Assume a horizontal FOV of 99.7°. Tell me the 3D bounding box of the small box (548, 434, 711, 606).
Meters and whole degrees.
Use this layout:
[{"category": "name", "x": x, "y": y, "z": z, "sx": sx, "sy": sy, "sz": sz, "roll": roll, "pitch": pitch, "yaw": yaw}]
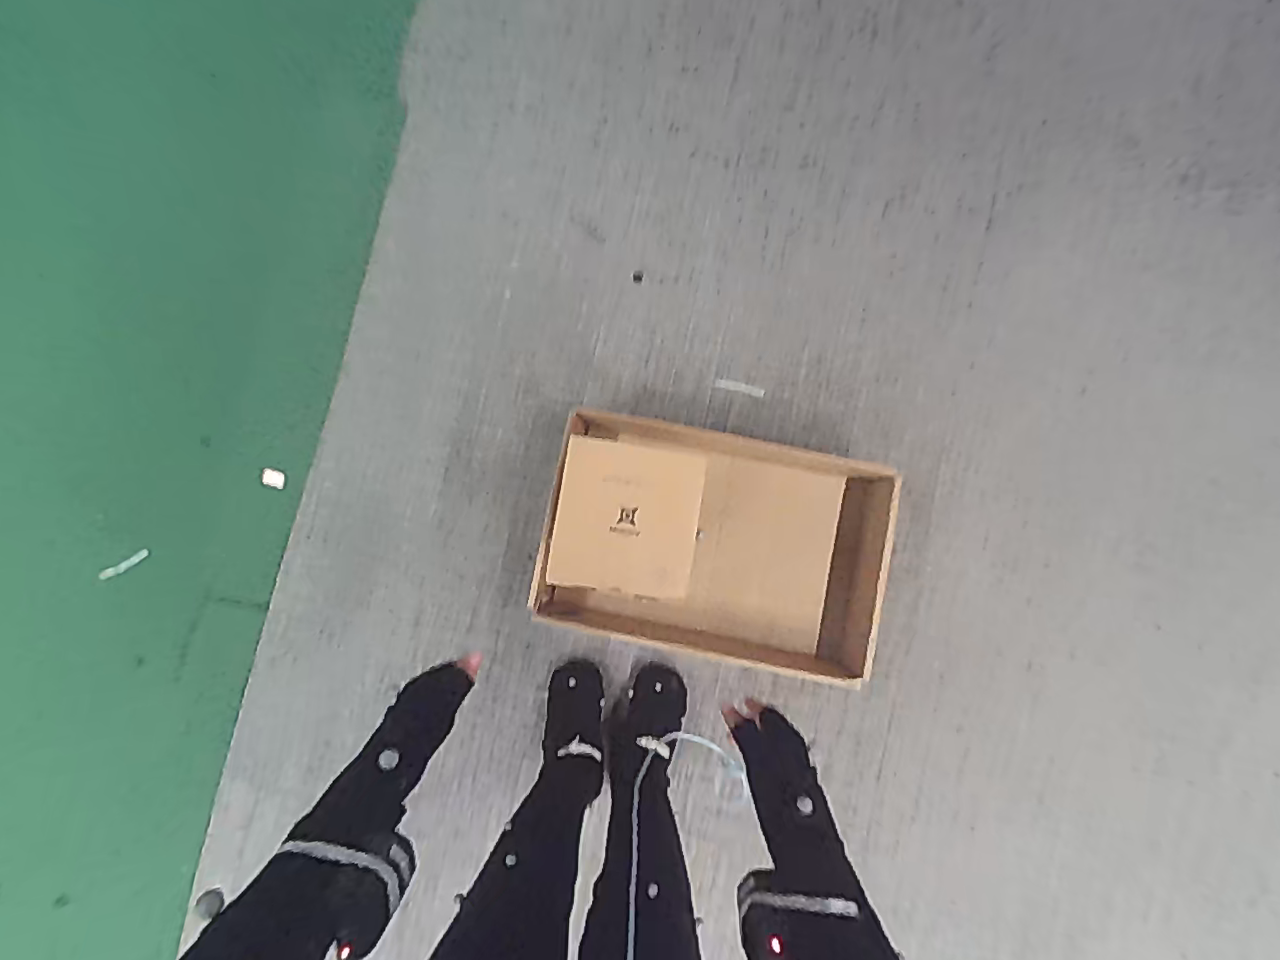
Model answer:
[{"category": "small box", "x": -0.010, "y": 0.051, "z": 0.699, "sx": 0.168, "sy": 0.176, "sz": 0.179, "roll": 10, "pitch": 85, "yaw": 1}]
